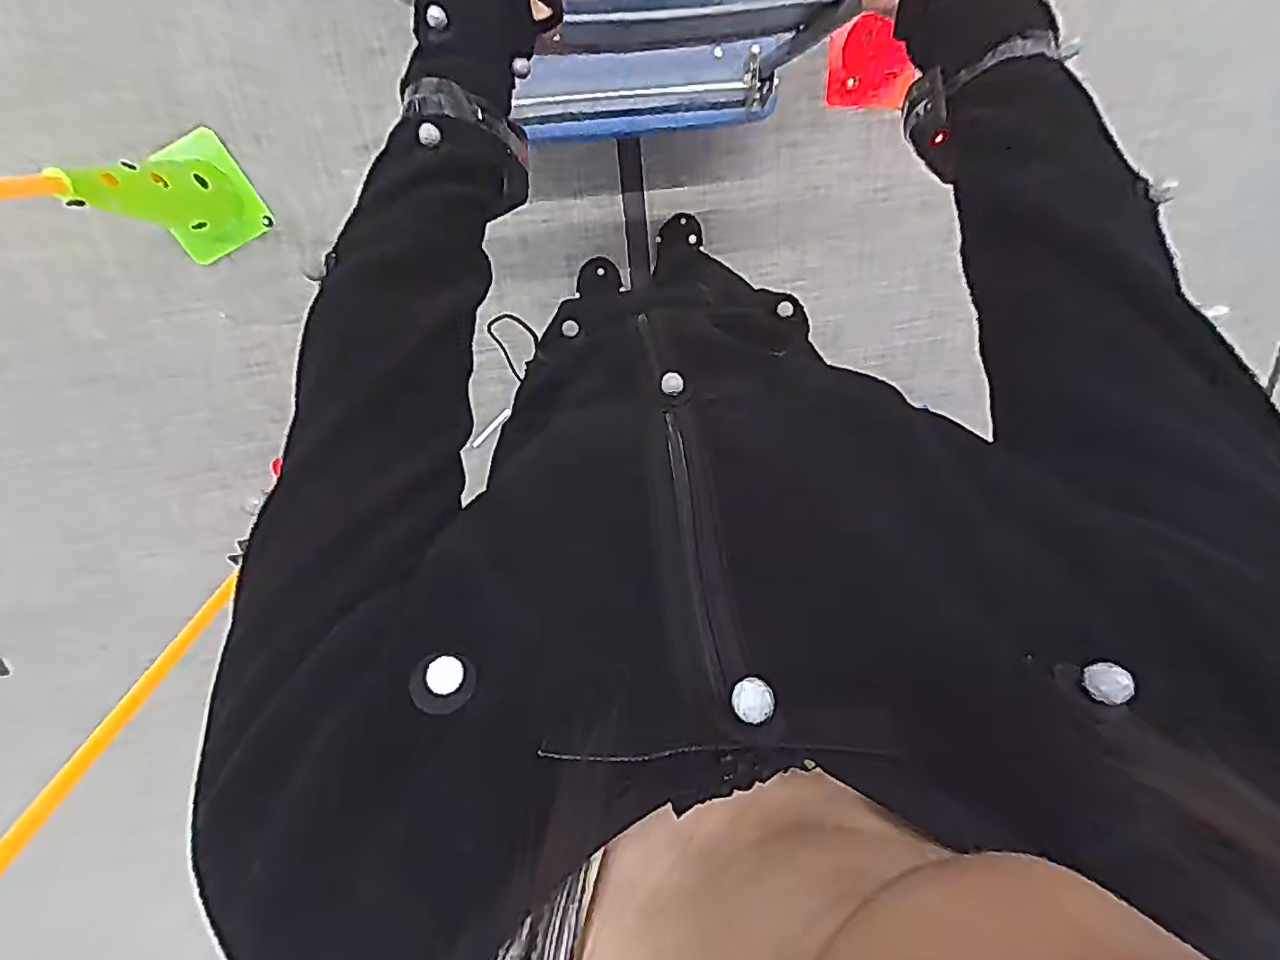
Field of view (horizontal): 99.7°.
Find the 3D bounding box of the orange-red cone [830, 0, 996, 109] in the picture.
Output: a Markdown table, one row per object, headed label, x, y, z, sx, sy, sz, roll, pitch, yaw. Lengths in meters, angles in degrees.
| label | x | y | z | sx | sy | sz | roll | pitch | yaw |
| --- | --- | --- | --- | --- | --- | --- | --- | --- | --- |
| orange-red cone | 0.527 | -0.833 | 0.984 | 0.199 | 0.360 | 0.198 | -3 | 115 | -7 |
